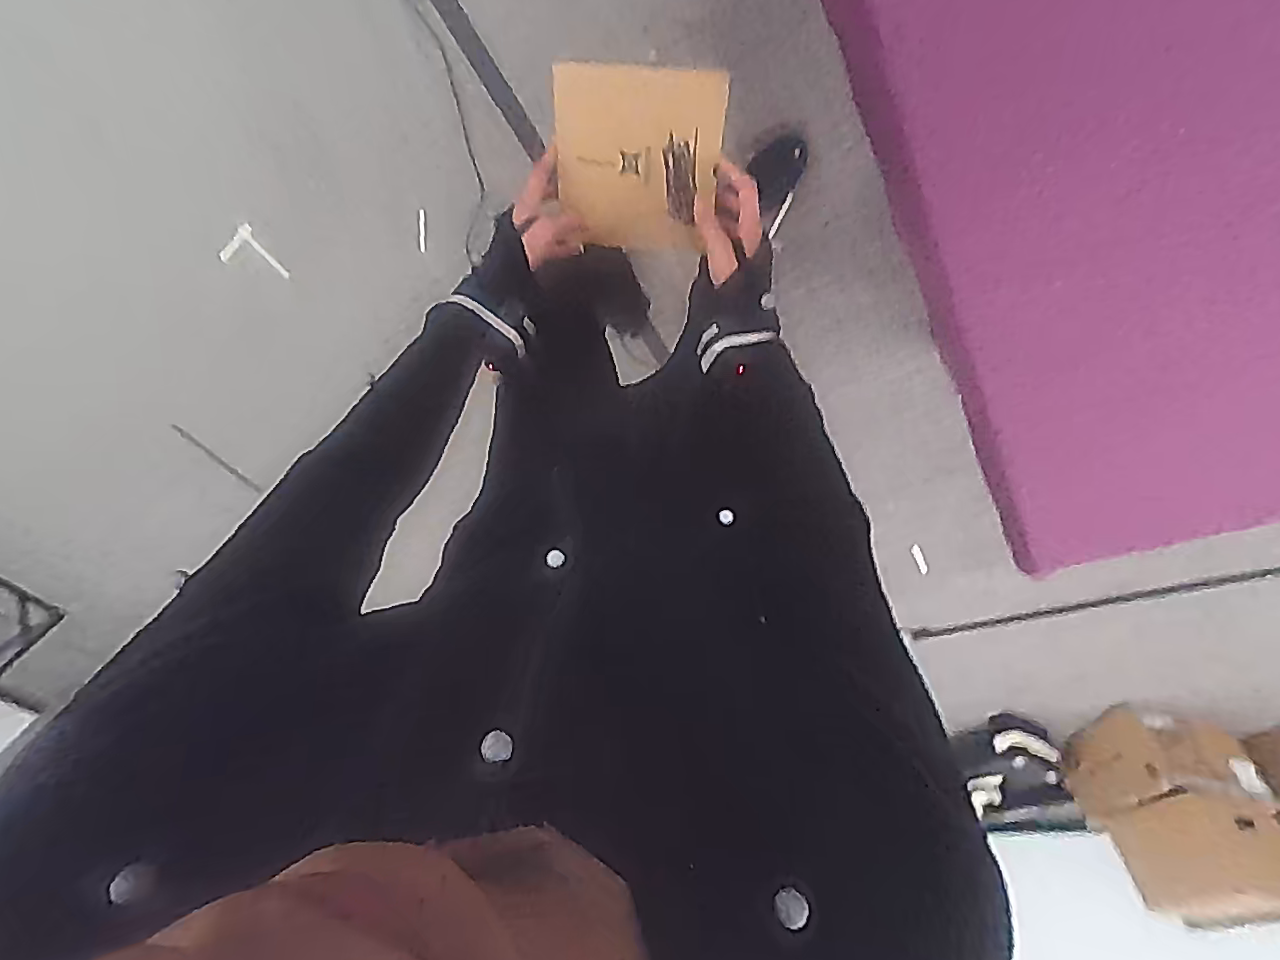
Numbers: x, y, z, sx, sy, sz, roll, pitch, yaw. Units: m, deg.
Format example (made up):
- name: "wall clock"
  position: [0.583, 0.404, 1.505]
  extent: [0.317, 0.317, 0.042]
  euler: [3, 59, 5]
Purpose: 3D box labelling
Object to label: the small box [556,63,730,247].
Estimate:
- name: "small box"
  position: [-0.001, -0.386, 0.640]
  extent: [0.179, 0.176, 0.168]
  euler: [1, 127, -1]
